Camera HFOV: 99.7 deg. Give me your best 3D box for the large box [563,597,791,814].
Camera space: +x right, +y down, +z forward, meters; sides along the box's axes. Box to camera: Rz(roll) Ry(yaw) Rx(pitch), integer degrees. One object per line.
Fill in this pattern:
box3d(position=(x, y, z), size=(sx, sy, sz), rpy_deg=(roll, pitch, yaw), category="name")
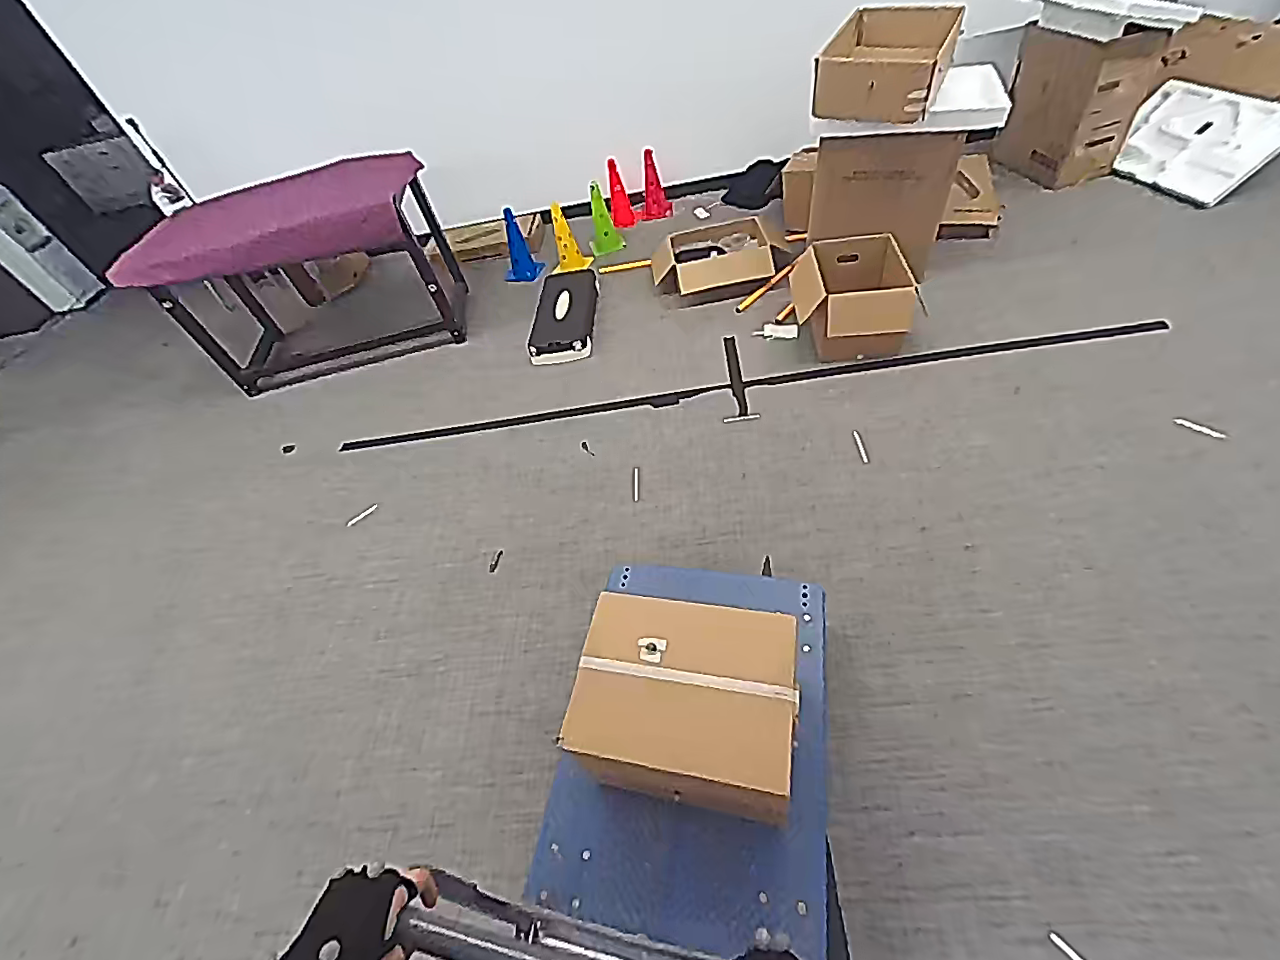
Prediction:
box3d(position=(0.107, 0.471, 1.135), size=(0.408, 0.320, 0.320), rpy_deg=(3, 50, 16), category="large box")
